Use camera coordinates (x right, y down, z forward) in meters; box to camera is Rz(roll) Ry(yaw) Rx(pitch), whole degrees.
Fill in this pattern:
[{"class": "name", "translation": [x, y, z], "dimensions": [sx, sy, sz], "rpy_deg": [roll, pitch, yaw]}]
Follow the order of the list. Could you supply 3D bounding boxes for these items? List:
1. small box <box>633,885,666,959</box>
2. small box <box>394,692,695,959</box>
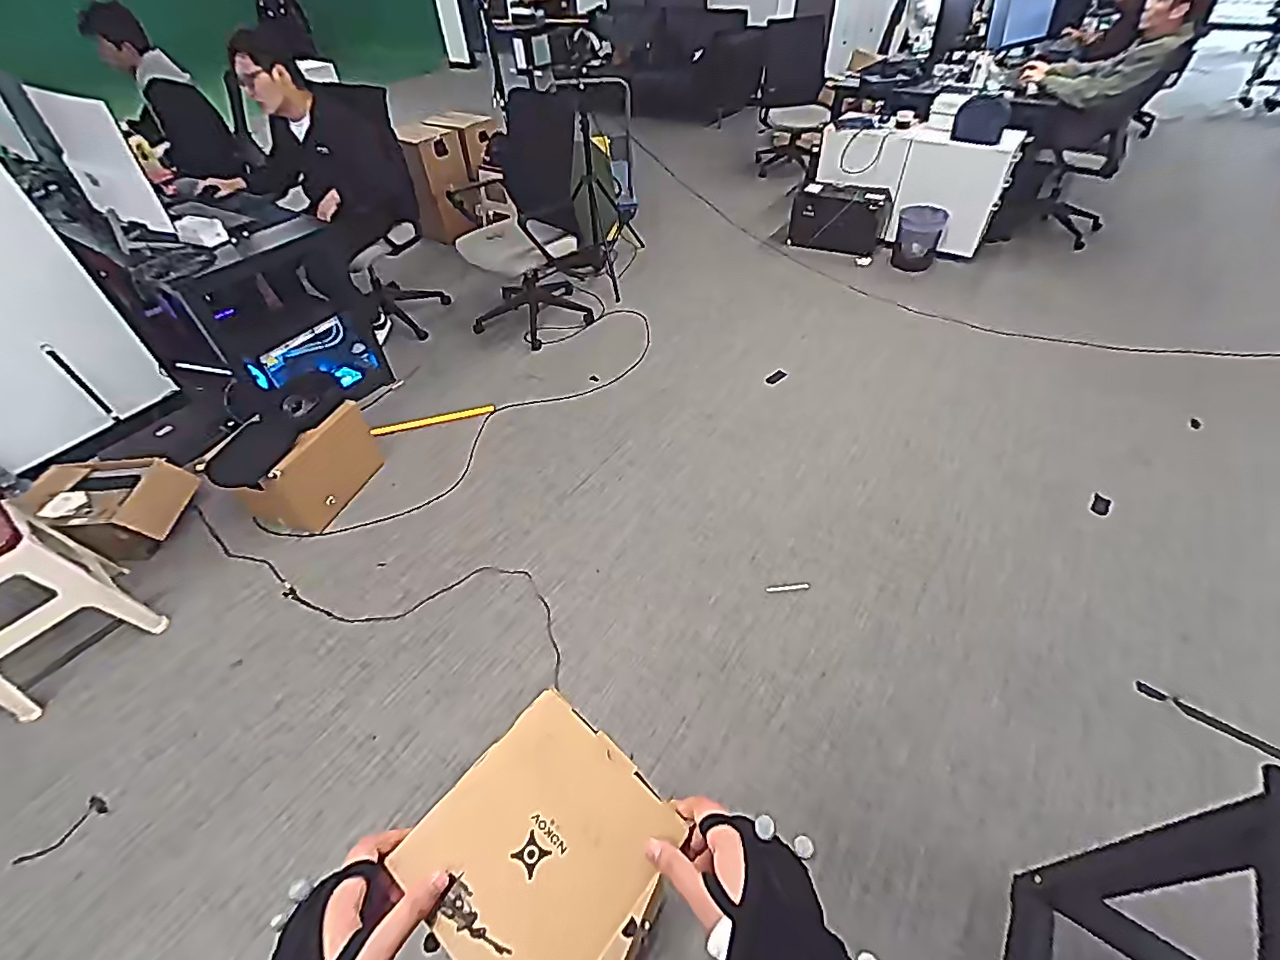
[{"class": "small box", "translation": [-0.060, 0.895, 1.117], "dimensions": [0.168, 0.176, 0.179], "rpy_deg": [22, 52, 23]}, {"class": "small box", "translation": [-0.074, 0.330, 0.483], "dimensions": [0.168, 0.176, 0.179], "rpy_deg": [36, 62, 22]}]
